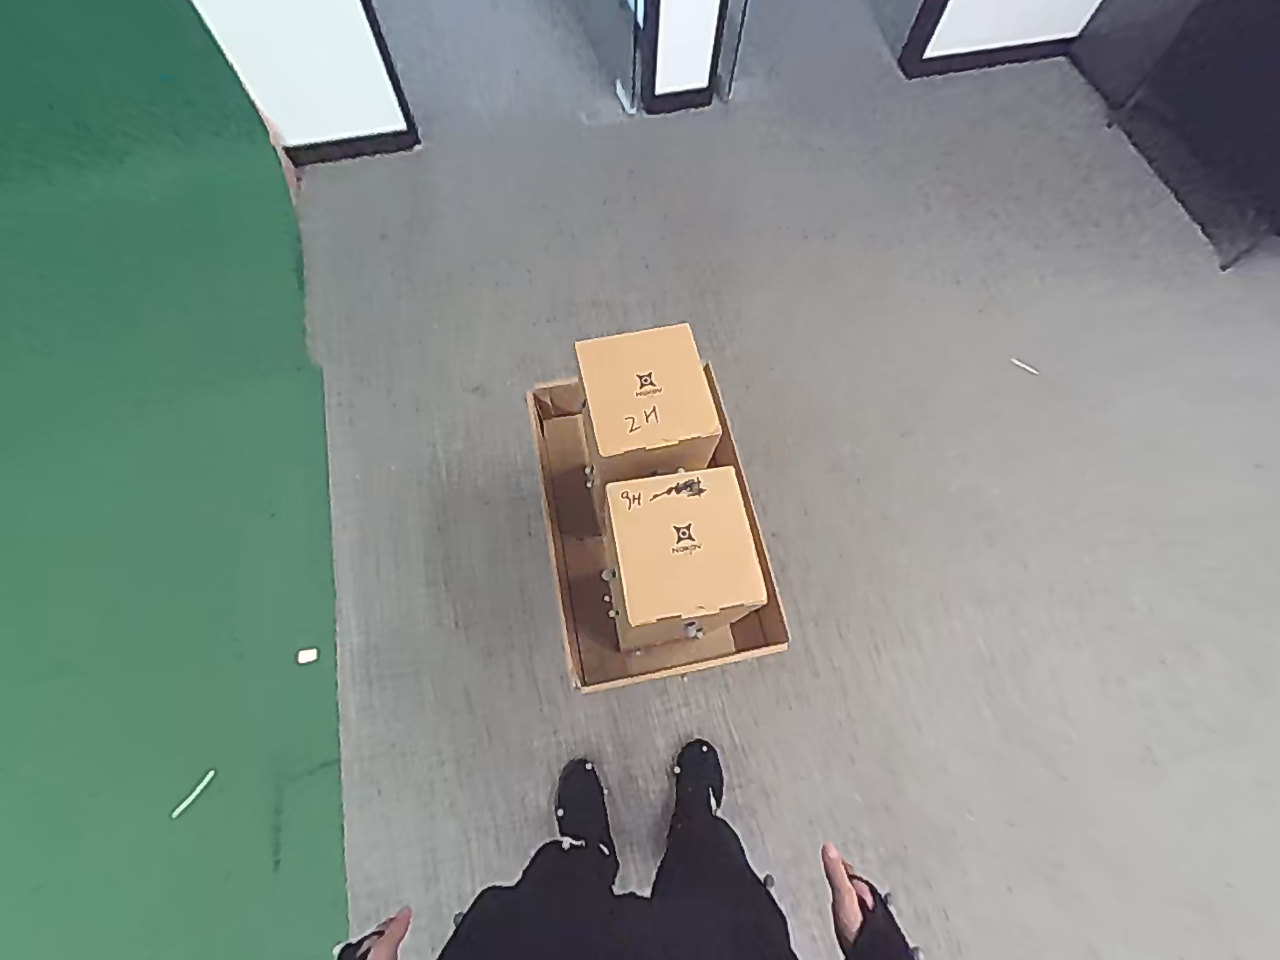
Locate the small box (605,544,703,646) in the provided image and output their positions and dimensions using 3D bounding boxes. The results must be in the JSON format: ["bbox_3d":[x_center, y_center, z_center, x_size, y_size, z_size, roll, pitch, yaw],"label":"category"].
[{"bbox_3d":[0.031,0.212,1.024,0.168,0.176,0.179,-10,68,-6],"label":"small box"}]

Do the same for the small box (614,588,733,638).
[{"bbox_3d":[0.041,0.154,0.872,0.168,0.176,0.179,-8,68,-6],"label":"small box"}]

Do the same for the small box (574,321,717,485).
[{"bbox_3d":[0.001,-0.103,0.799,0.168,0.176,0.179,-12,72,-6],"label":"small box"}]

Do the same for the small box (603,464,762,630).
[{"bbox_3d":[0.046,0.098,0.718,0.168,0.176,0.179,-9,70,-7],"label":"small box"}]
